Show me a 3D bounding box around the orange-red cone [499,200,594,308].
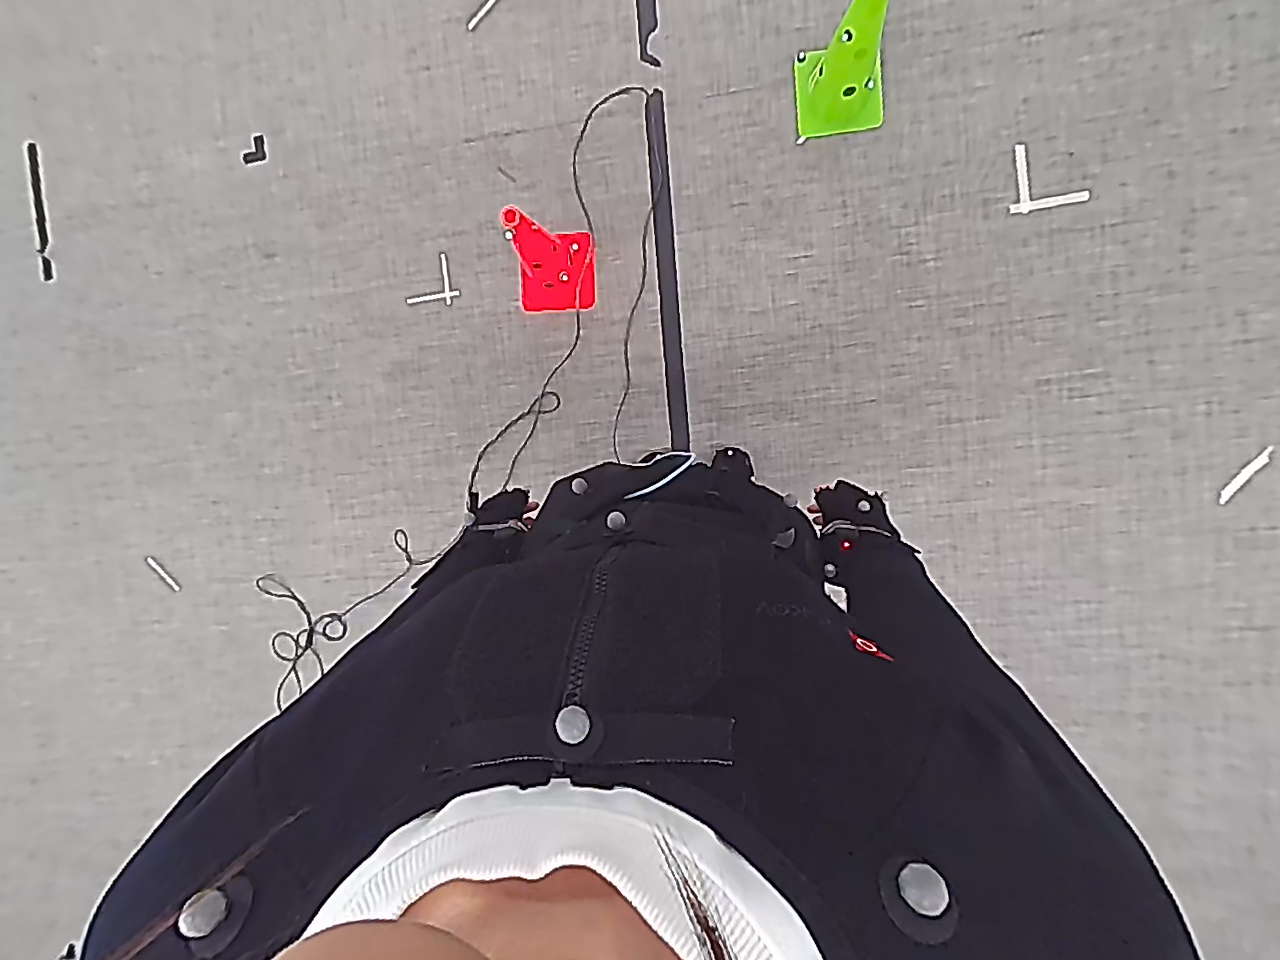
[{"bbox_3d":[-0.242,-0.545,1.250,0.199,0.360,0.198,0,92,8],"label":"orange-red cone"}]

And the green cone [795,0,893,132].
[{"bbox_3d":[0.461,-0.938,1.133,0.202,0.368,0.200,-4,93,6],"label":"green cone"}]
